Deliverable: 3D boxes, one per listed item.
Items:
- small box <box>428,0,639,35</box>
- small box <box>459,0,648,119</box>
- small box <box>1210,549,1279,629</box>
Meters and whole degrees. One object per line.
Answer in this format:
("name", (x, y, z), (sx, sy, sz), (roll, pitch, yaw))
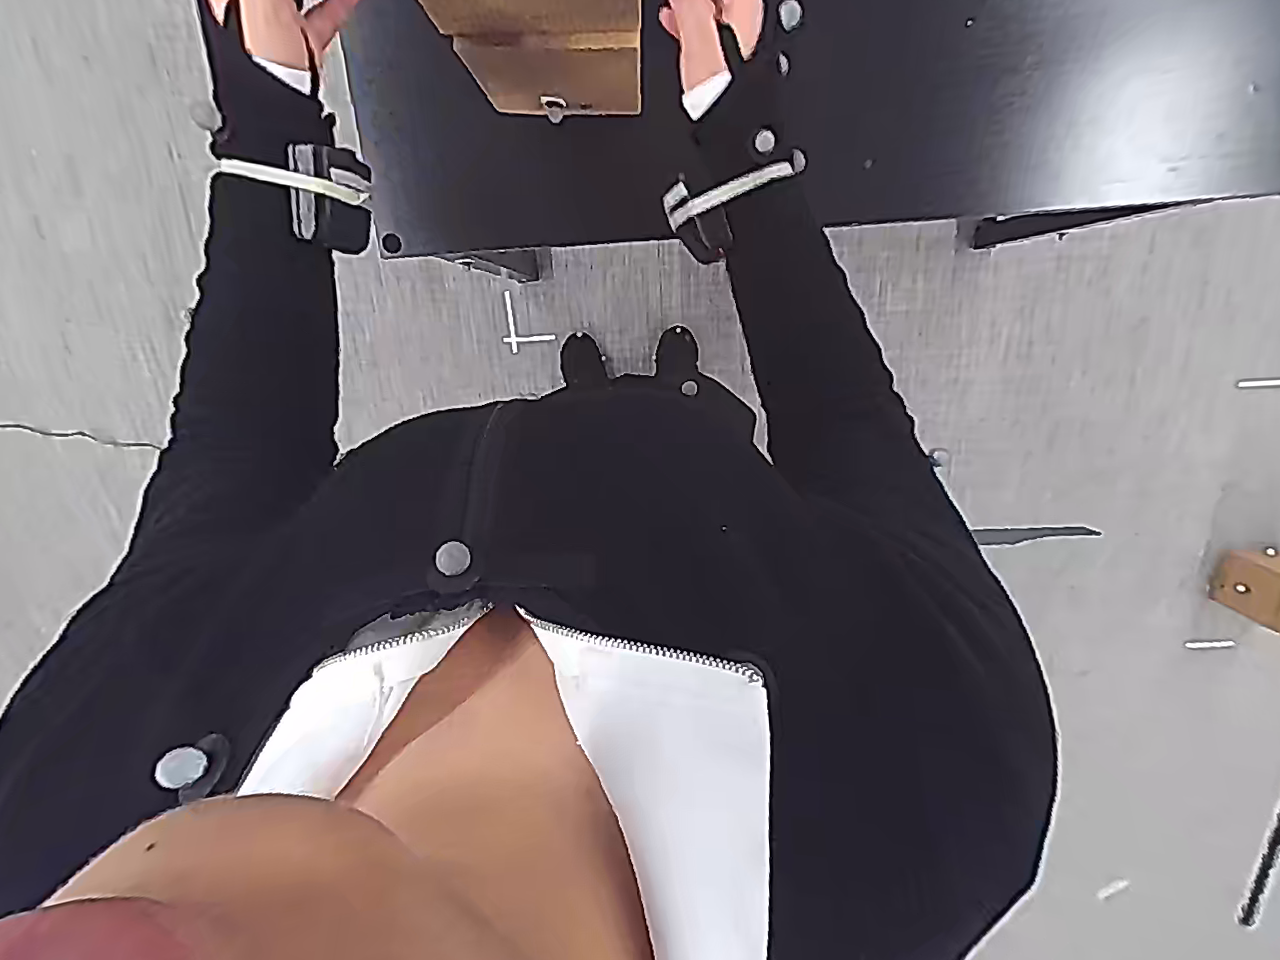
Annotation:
("small box", (-0.082, -0.441, 0.368), (0.179, 0.176, 0.168), (0, 106, 1))
("small box", (-0.076, -0.482, 0.528), (0.168, 0.176, 0.179), (0, 107, 1))
("small box", (1.784, 0.302, 1.520), (0.179, 0.176, 0.168), (-1, 107, 1))
